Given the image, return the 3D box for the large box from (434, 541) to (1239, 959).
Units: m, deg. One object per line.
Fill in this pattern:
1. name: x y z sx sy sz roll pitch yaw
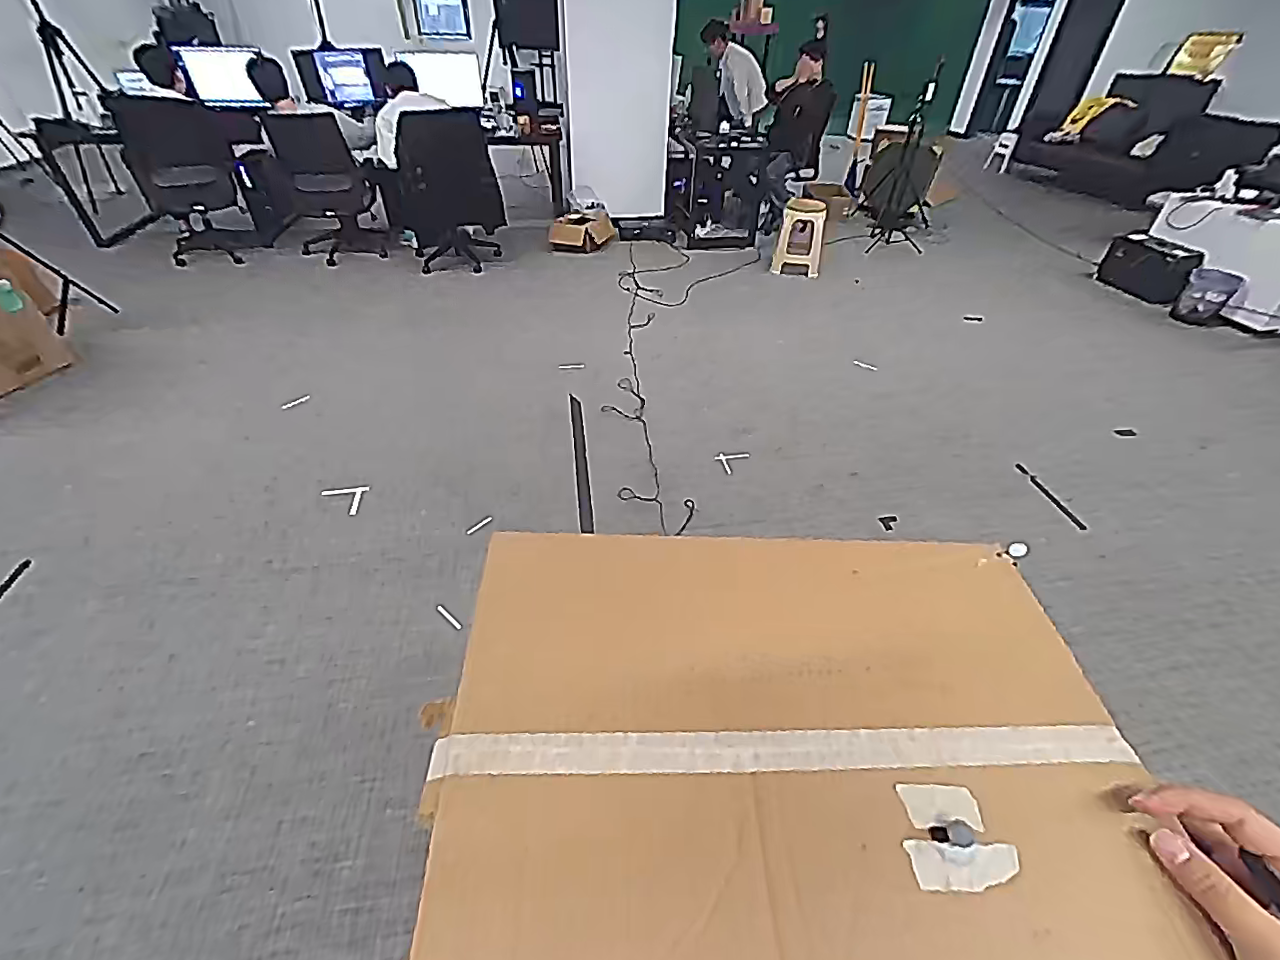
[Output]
1. large box: 0.082 0.265 0.429 0.408 0.320 0.320 2 46 -6
